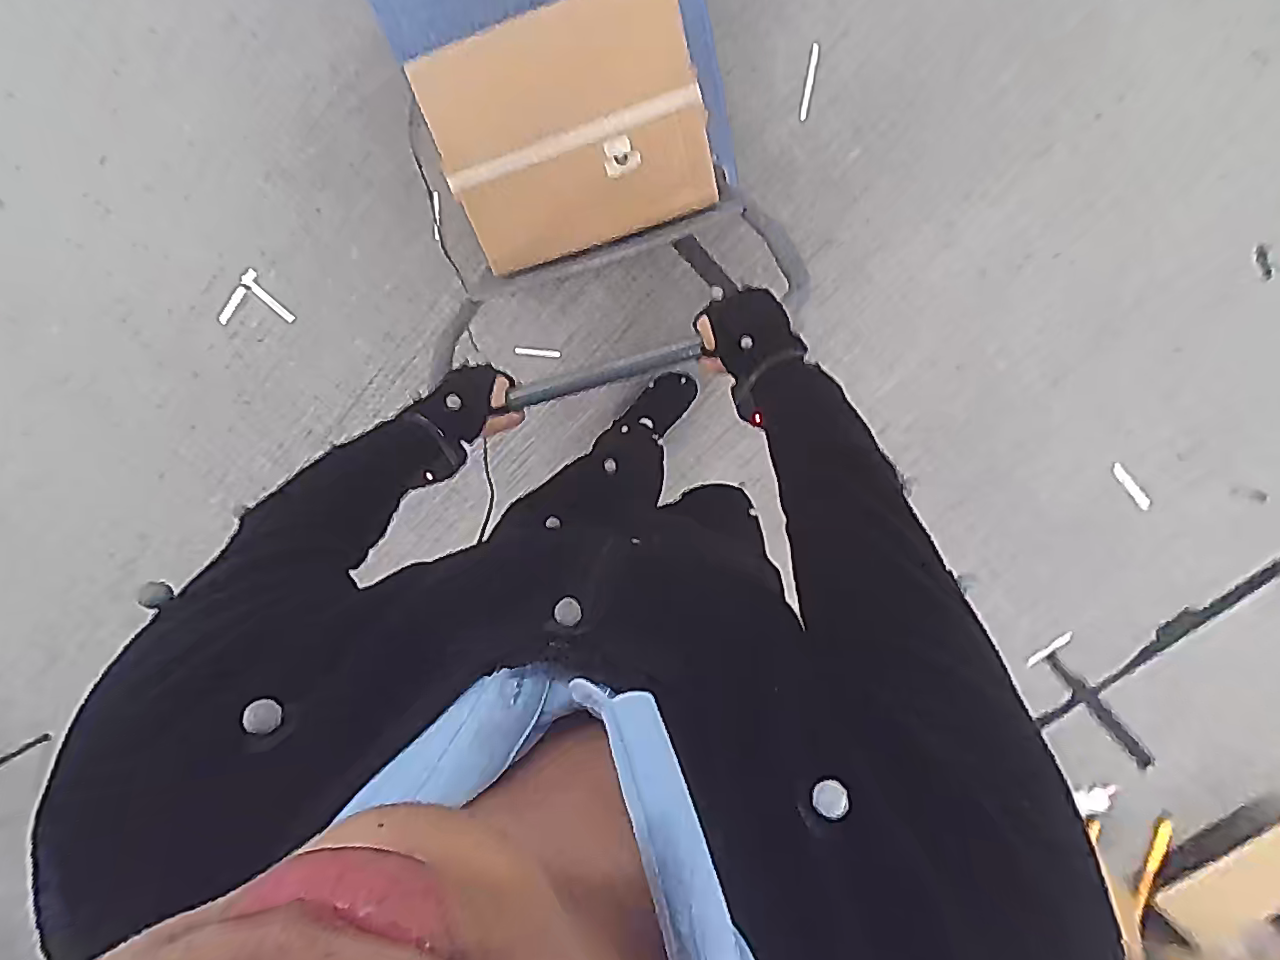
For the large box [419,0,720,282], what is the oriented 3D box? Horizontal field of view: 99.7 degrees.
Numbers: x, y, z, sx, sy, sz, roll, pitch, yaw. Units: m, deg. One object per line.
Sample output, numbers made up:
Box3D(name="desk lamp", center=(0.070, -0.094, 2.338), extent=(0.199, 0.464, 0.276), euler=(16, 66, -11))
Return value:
Box3D(name="large box", center=(-0.105, -0.605, 0.981), extent=(0.408, 0.320, 0.320), euler=(-17, 122, 8))
